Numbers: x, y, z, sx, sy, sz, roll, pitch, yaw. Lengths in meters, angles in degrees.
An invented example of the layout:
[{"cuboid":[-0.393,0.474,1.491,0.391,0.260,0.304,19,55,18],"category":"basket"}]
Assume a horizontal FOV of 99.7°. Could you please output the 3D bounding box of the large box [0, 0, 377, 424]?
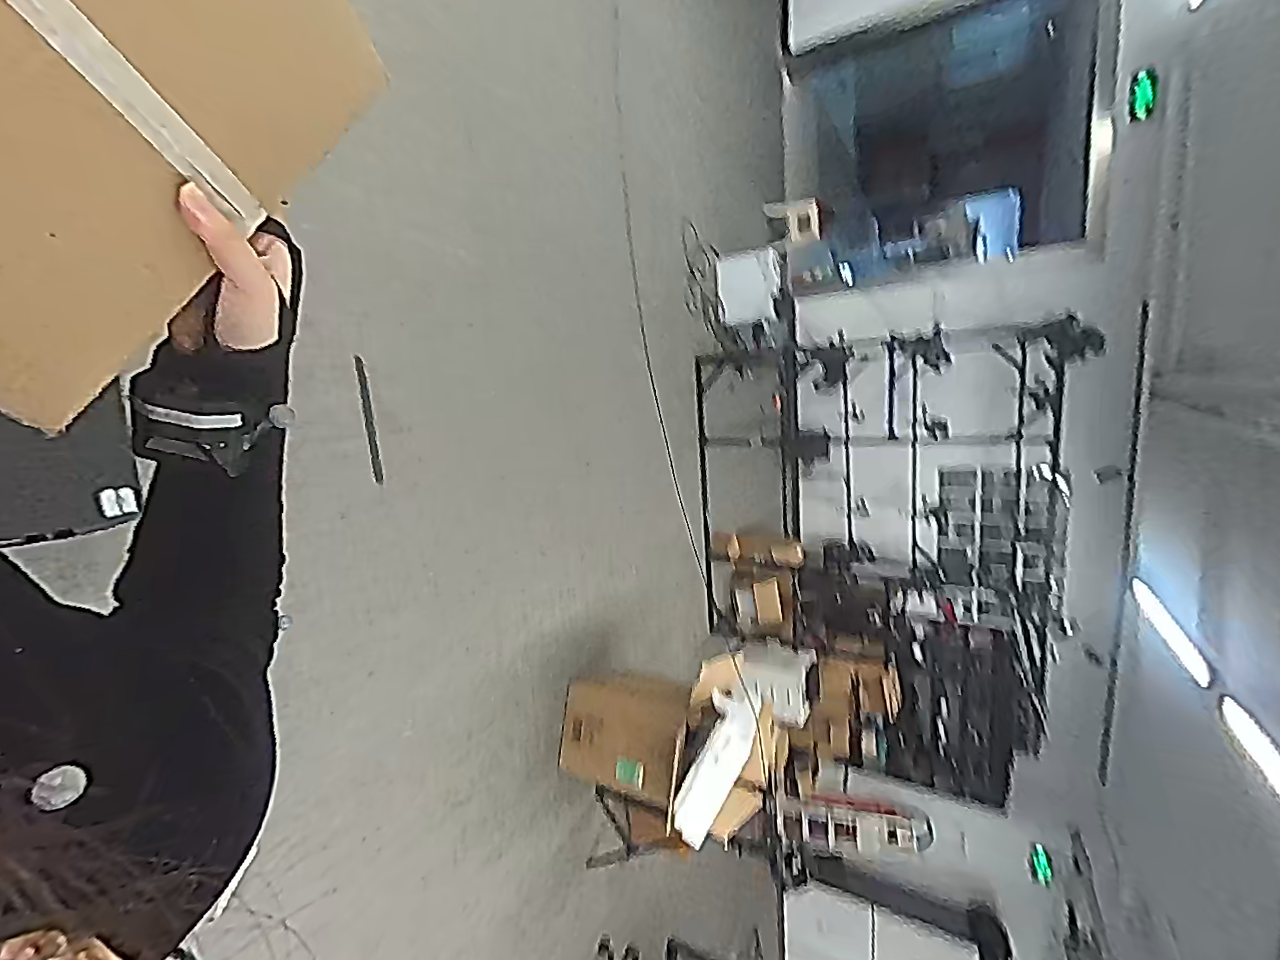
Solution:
[{"cuboid":[-0.422,-0.277,0.218,0.320,0.320,0.408,-67,155,-20],"category":"large box"}]
